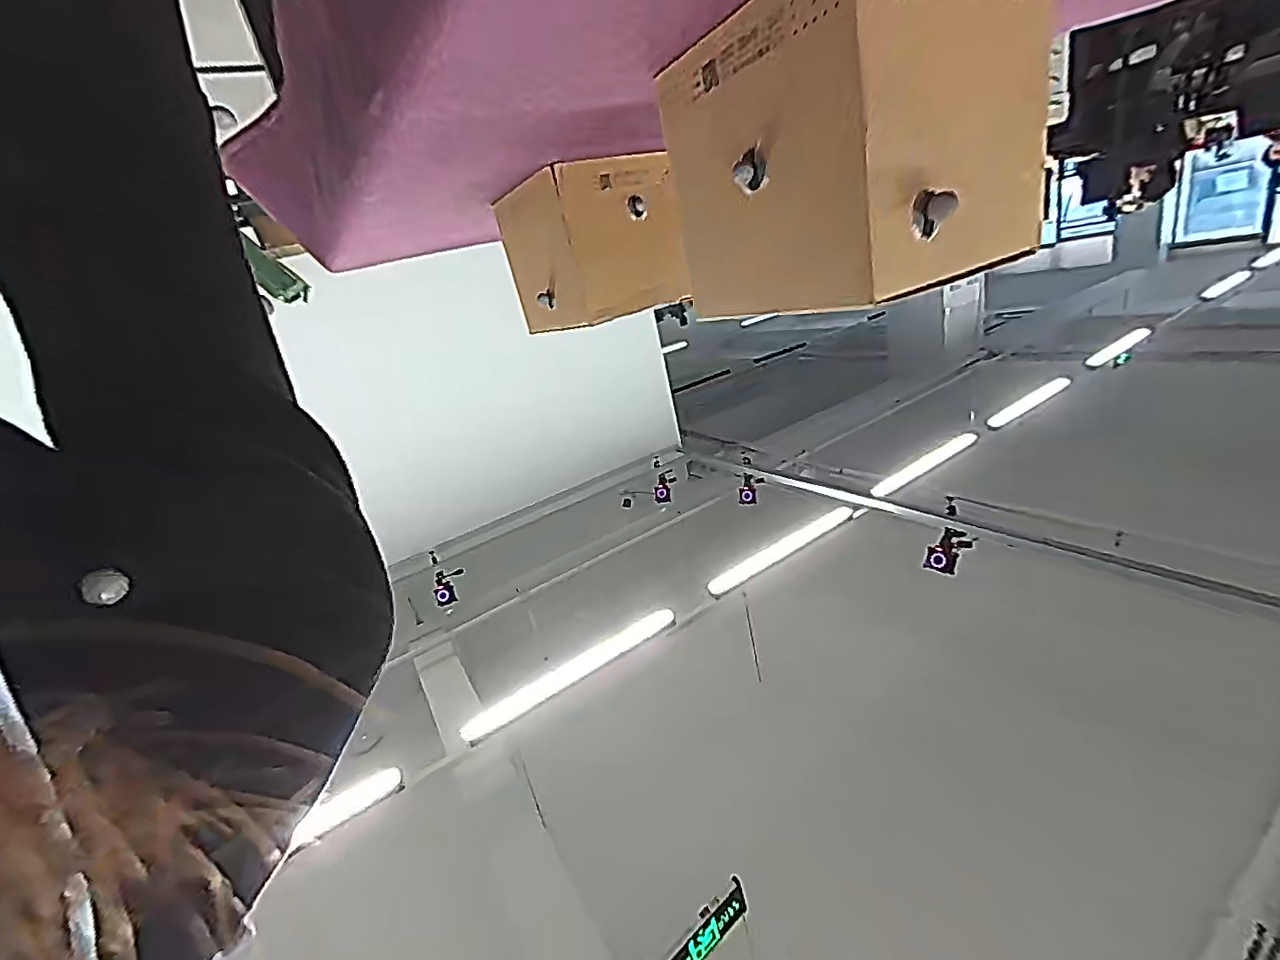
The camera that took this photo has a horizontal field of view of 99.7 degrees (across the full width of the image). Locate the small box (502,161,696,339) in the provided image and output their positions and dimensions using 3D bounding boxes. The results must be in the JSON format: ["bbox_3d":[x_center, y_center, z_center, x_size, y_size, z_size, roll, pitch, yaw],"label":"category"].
[{"bbox_3d":[-0.055,-0.284,0.682,0.168,0.176,0.179,-26,-157,-28],"label":"small box"}]

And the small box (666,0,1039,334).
[{"bbox_3d":[0.139,-0.208,0.371,0.179,0.176,0.168,-24,-156,-24],"label":"small box"}]
